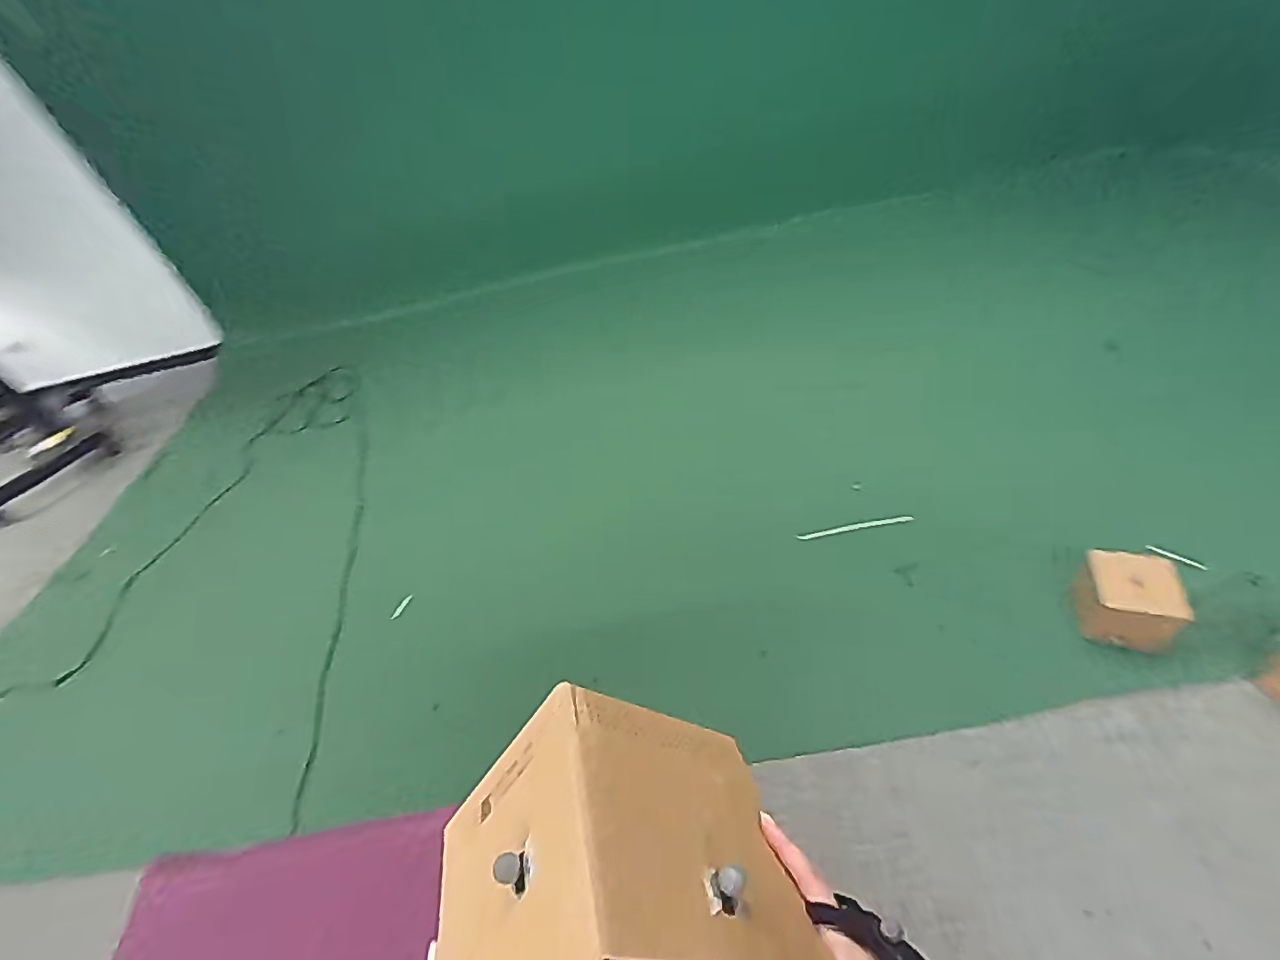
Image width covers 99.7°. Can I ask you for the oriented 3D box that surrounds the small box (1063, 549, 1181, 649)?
[{"bbox_3d":[1.234,0.308,1.402,0.168,0.176,0.179,6,48,21],"label":"small box"}]
